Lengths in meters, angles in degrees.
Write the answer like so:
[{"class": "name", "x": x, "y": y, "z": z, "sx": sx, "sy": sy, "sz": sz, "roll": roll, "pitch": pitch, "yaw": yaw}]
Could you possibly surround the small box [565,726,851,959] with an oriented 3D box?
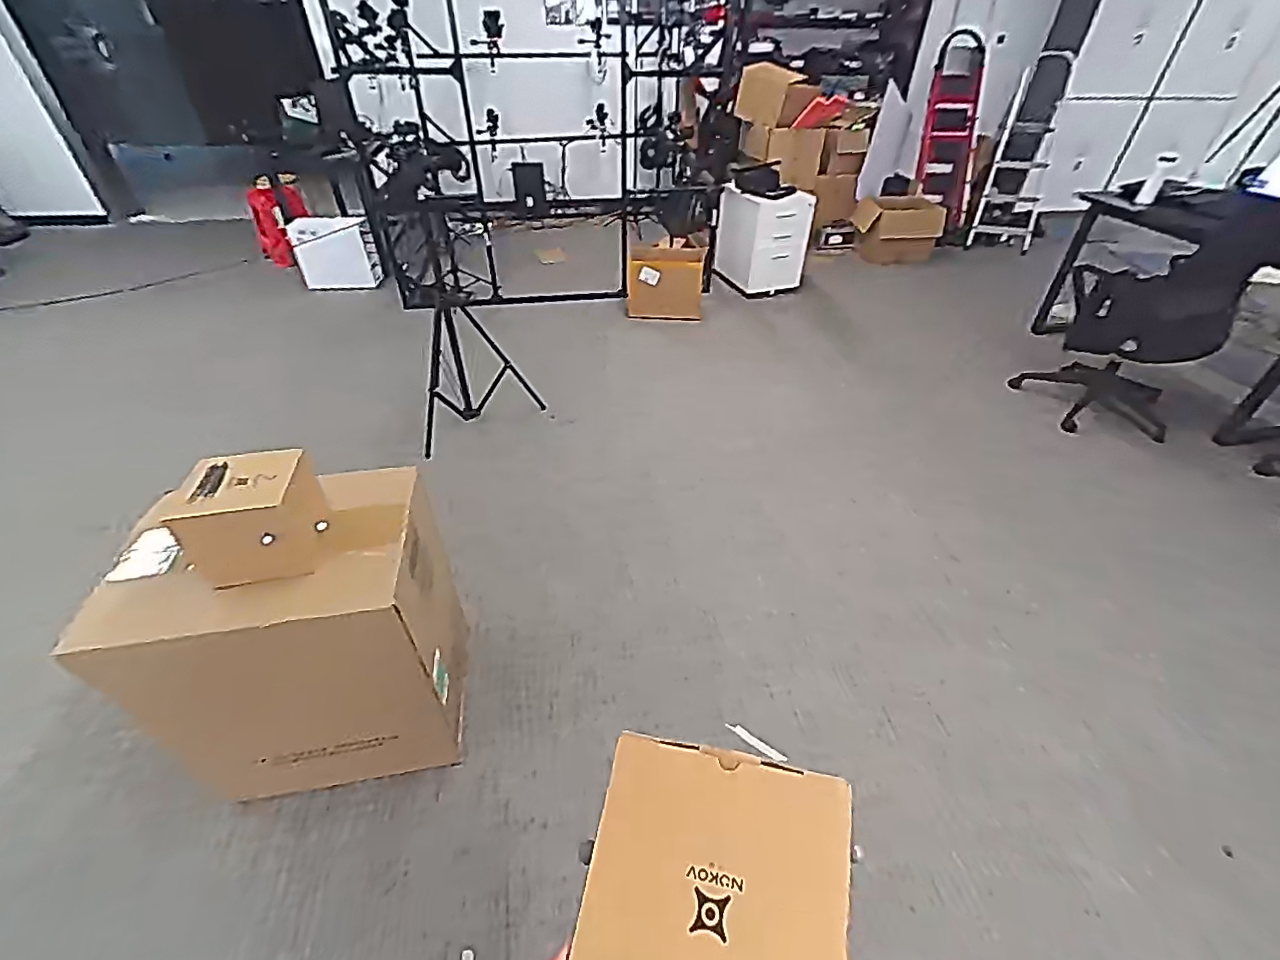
[{"class": "small box", "x": 0.055, "y": 0.304, "z": 0.395, "sx": 0.168, "sy": 0.176, "sz": 0.179, "roll": 5, "pitch": 55, "yaw": 13}]
